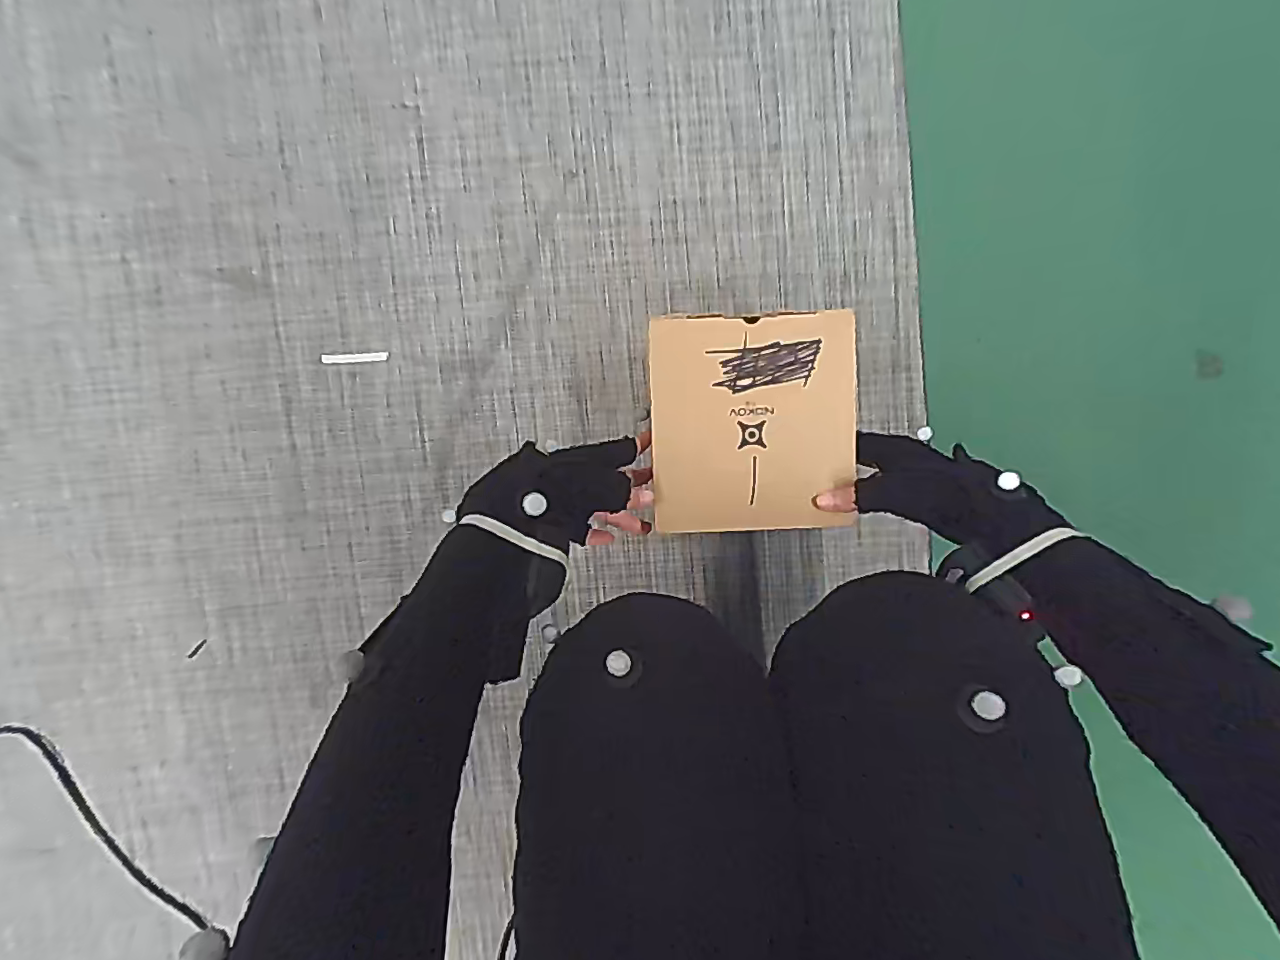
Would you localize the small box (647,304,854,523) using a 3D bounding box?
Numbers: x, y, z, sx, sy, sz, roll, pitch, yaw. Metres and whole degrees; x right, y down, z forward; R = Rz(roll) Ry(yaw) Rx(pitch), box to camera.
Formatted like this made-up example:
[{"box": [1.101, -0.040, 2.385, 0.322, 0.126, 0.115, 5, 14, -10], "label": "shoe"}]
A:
[{"box": [0.091, -0.059, 0.518, 0.168, 0.176, 0.179, -2, 95, 1], "label": "small box"}]
